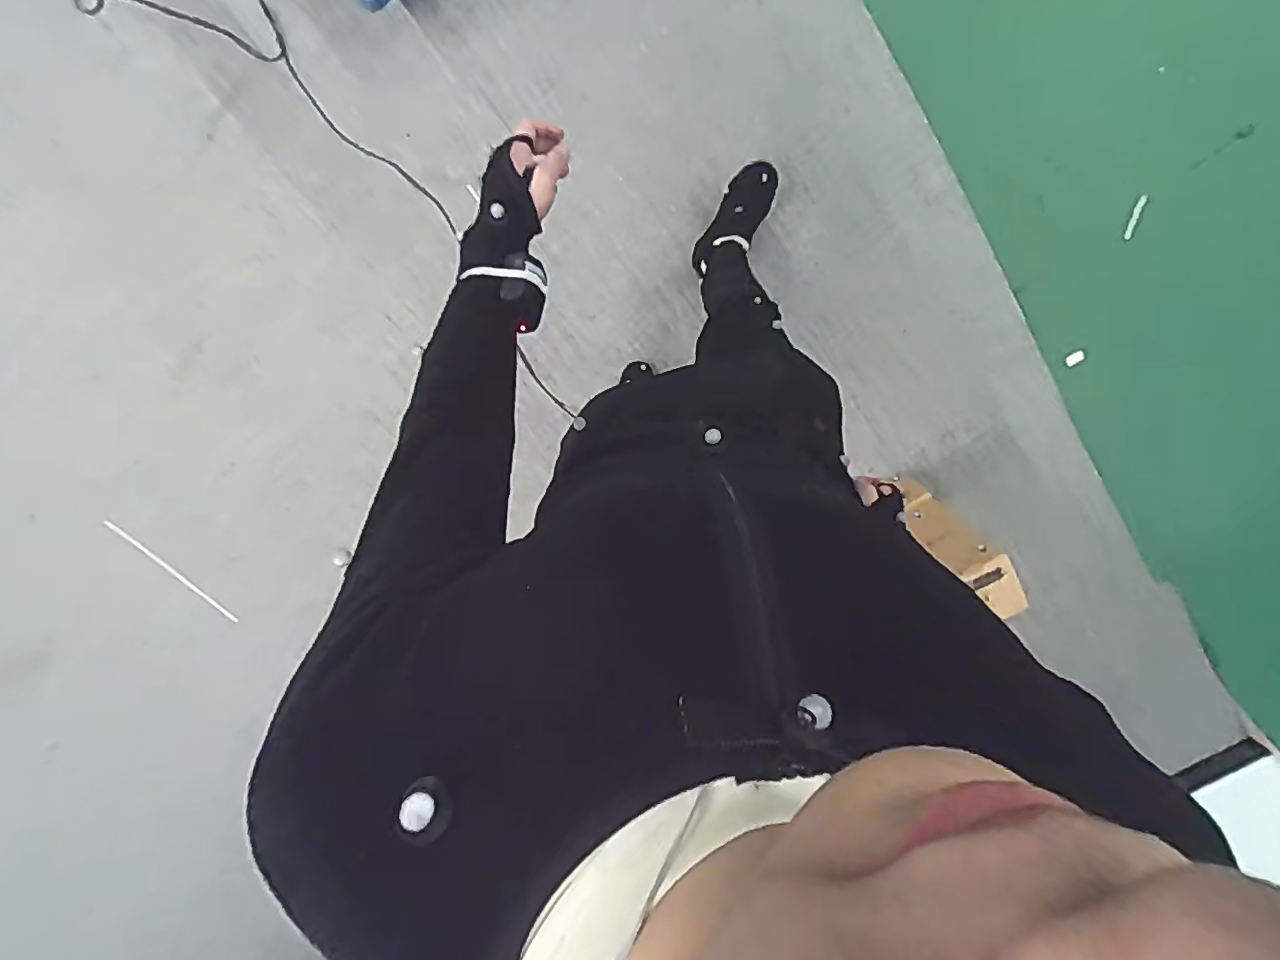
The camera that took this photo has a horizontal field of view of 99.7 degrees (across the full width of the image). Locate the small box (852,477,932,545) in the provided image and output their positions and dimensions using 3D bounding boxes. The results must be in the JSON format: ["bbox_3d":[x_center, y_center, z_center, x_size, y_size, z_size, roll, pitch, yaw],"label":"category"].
[{"bbox_3d":[0.772,0.110,1.633,0.168,0.176,0.179,-31,110,10],"label":"small box"}]

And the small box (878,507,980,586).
[{"bbox_3d":[0.790,0.178,1.494,0.179,0.176,0.168,-1,109,-2],"label":"small box"}]
